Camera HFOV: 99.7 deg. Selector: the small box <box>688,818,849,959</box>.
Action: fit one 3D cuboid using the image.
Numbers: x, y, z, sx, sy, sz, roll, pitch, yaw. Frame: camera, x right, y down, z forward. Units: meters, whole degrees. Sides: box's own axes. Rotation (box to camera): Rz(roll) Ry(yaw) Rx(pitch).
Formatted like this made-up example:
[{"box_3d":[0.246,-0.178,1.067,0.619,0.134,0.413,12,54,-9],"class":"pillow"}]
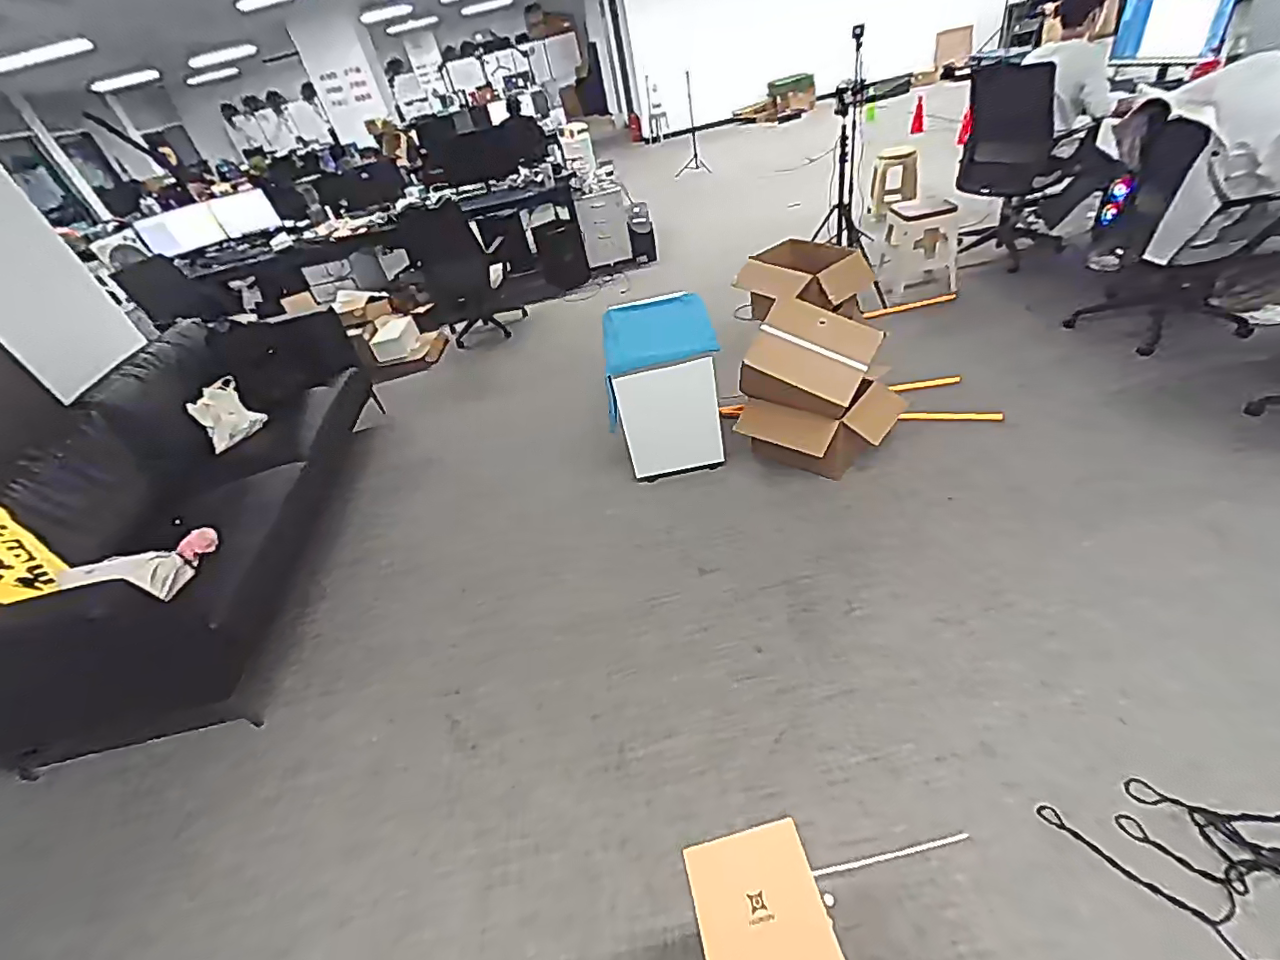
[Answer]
[{"box_3d":[0.175,0.613,0.751,0.168,0.176,0.179,-17,40,0],"class":"small box"}]
